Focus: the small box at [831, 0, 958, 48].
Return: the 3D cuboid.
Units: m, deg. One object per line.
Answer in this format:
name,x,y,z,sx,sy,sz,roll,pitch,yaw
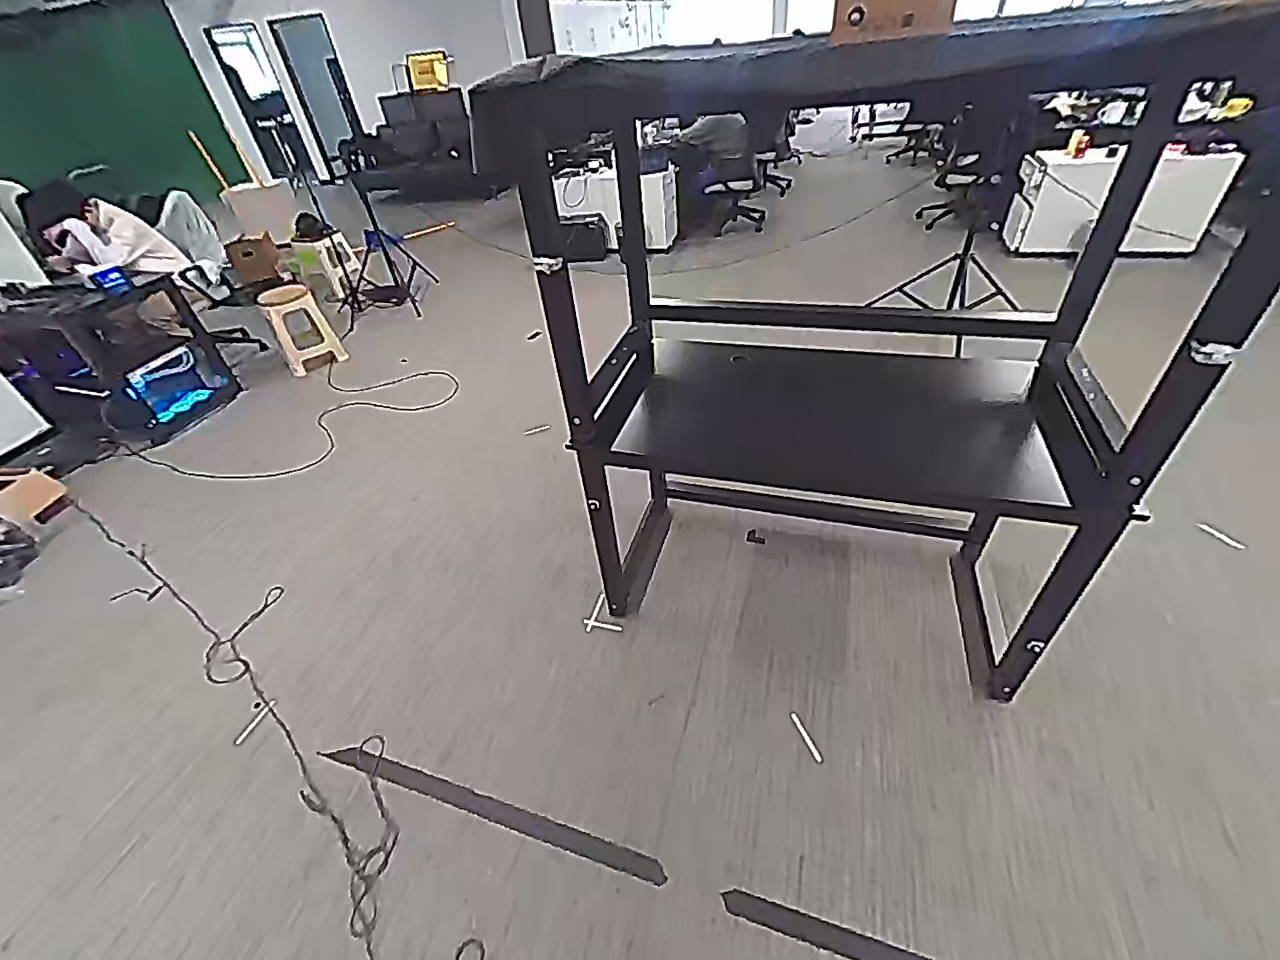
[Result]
small box,0.378,-0.751,0.793,0.168,0.176,0.179,7,40,16
